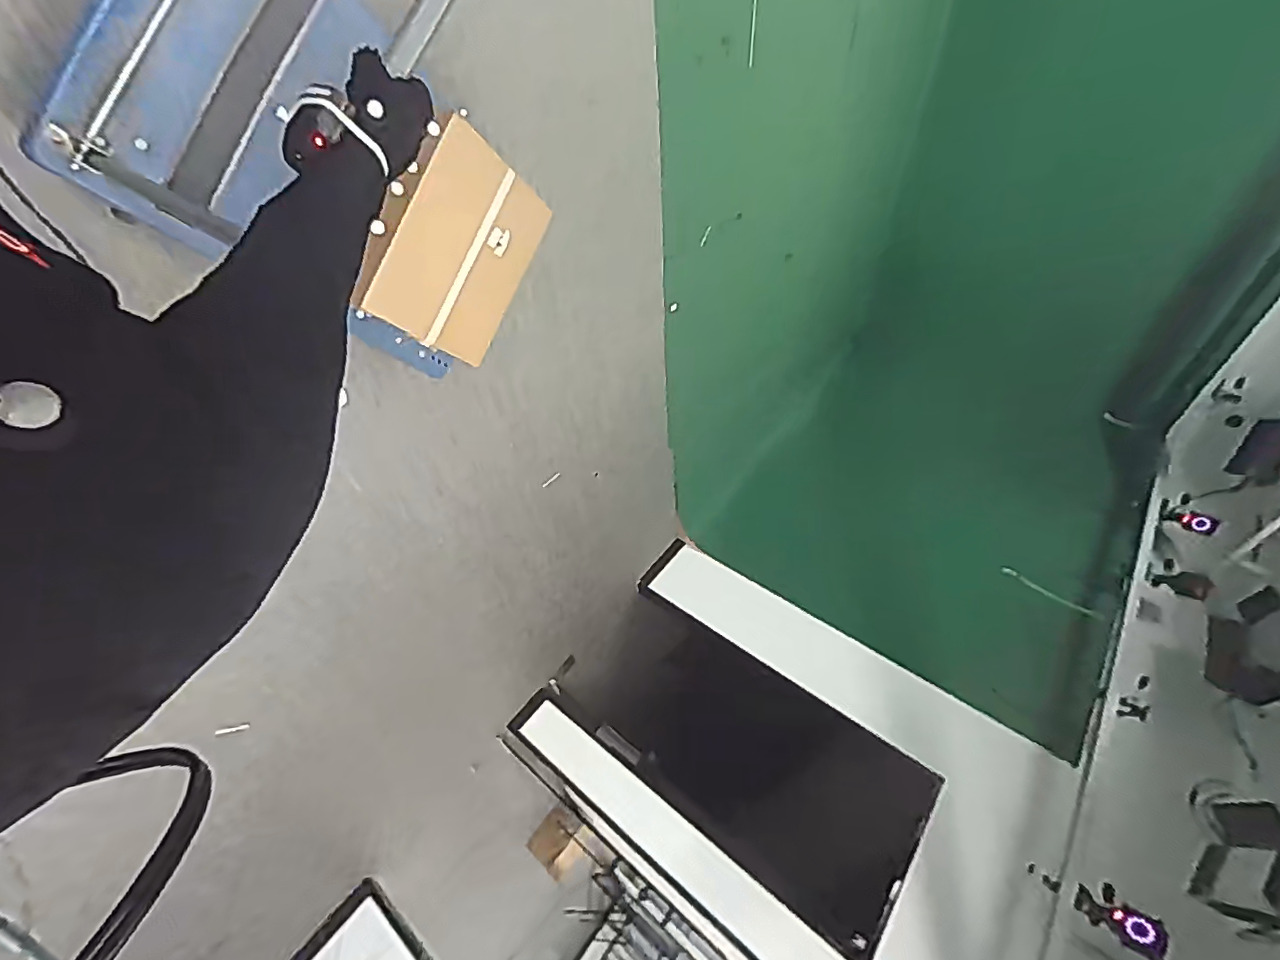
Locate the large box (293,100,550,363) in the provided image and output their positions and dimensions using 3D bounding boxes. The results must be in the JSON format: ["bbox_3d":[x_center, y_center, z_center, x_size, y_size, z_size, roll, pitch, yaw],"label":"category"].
[{"bbox_3d":[-0.476,-0.532,1.194,0.408,0.320,0.320,-64,152,2],"label":"large box"}]
